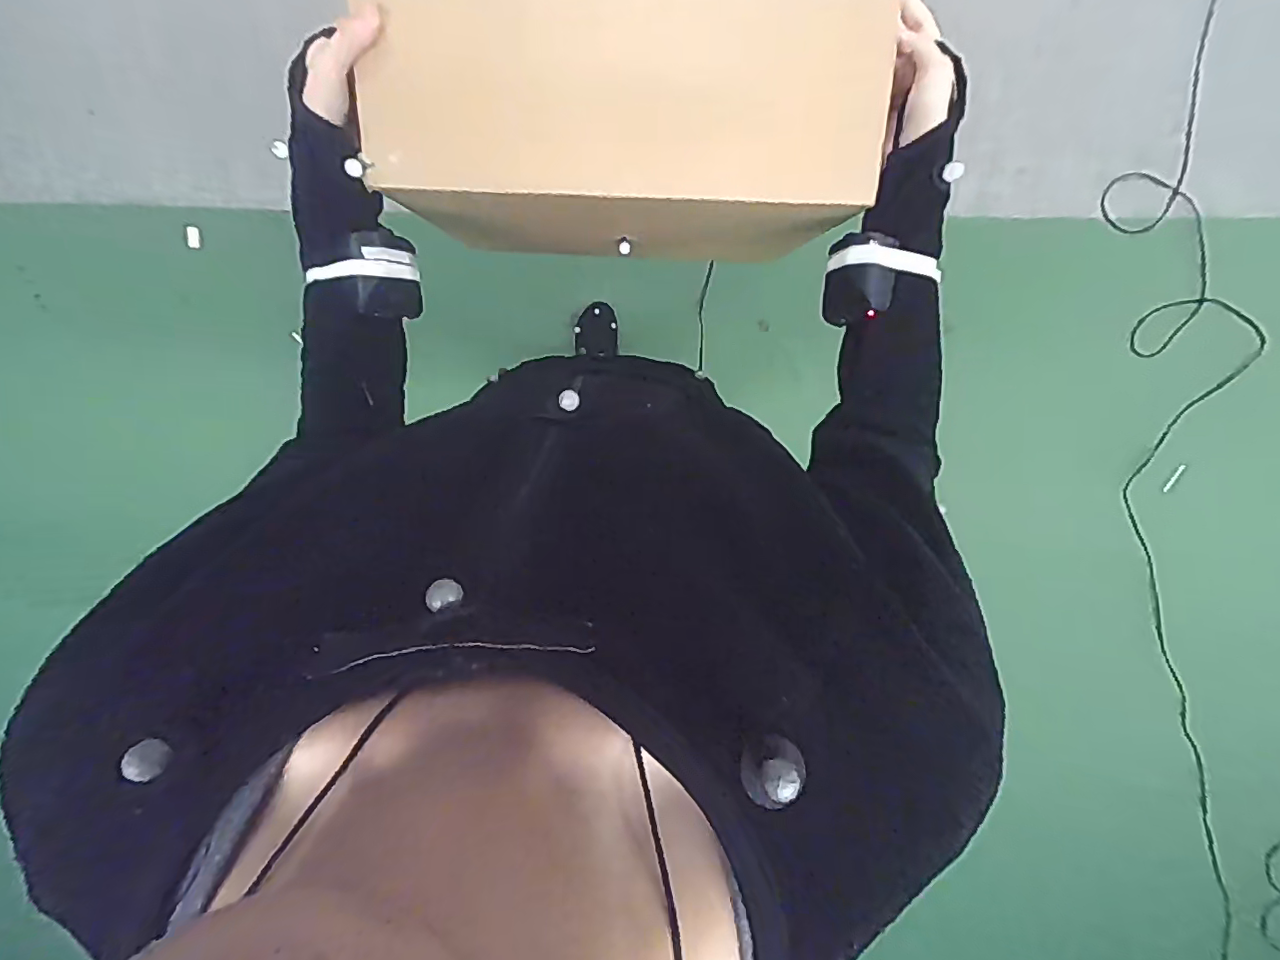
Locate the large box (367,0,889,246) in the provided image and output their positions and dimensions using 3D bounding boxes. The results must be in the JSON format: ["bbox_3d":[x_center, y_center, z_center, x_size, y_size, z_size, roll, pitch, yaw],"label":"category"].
[{"bbox_3d":[-0.007,-0.424,0.546,0.408,0.320,0.320,1,104,-1],"label":"large box"}]
